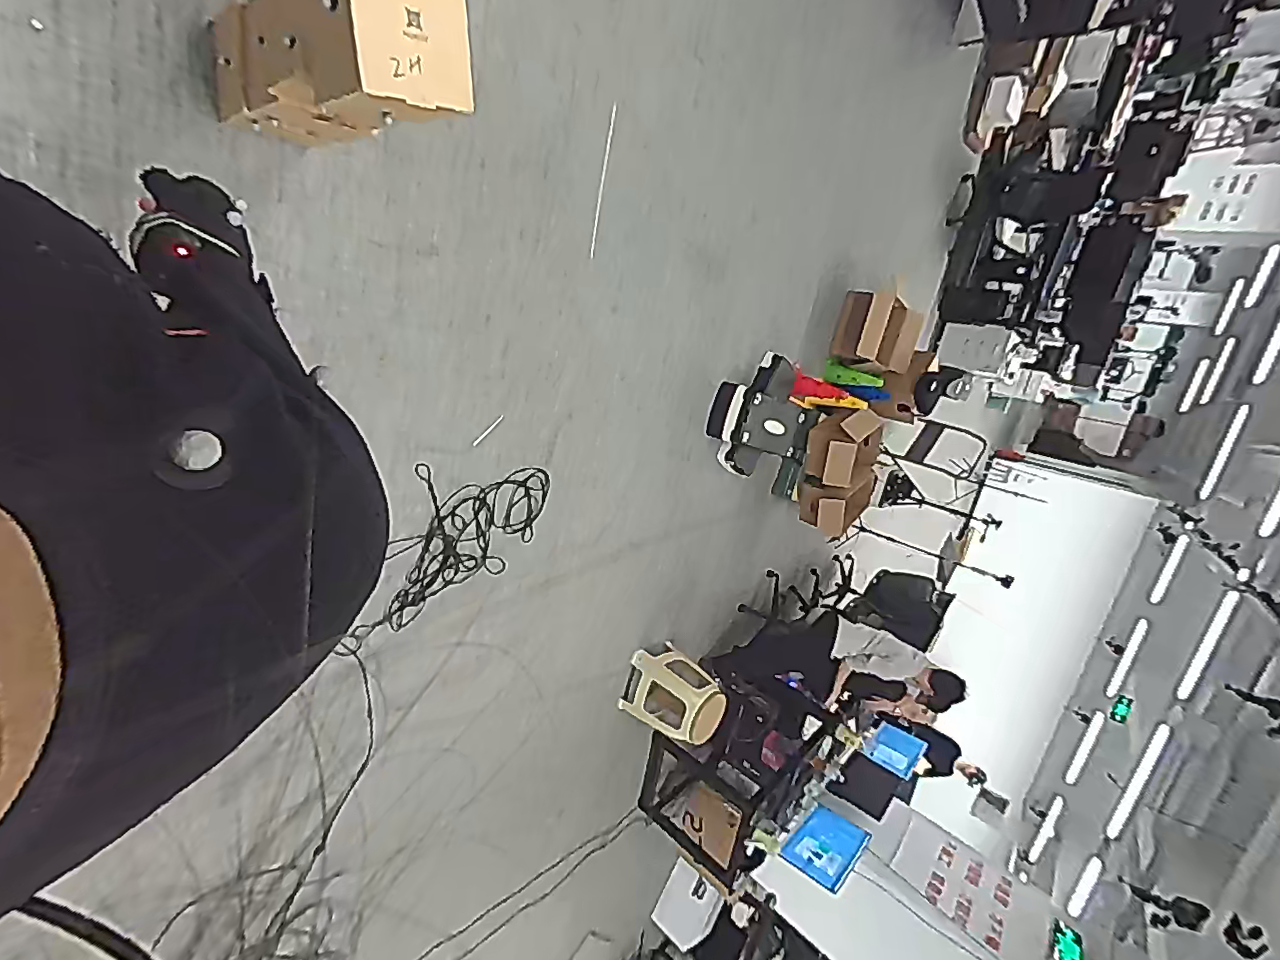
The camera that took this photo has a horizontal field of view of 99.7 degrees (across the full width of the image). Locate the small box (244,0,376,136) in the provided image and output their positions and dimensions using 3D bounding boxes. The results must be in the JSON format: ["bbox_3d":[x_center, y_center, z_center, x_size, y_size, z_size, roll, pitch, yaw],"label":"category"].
[{"bbox_3d":[-0.588,-0.744,0.968,0.168,0.176,0.179,-9,114,-48],"label":"small box"}]

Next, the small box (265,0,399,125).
[{"bbox_3d":[-0.476,-0.699,0.859,0.168,0.176,0.179,-5,112,-49],"label":"small box"}]

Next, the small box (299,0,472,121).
[{"bbox_3d":[-0.360,-0.630,0.764,0.168,0.176,0.179,-21,125,-42],"label":"small box"}]
